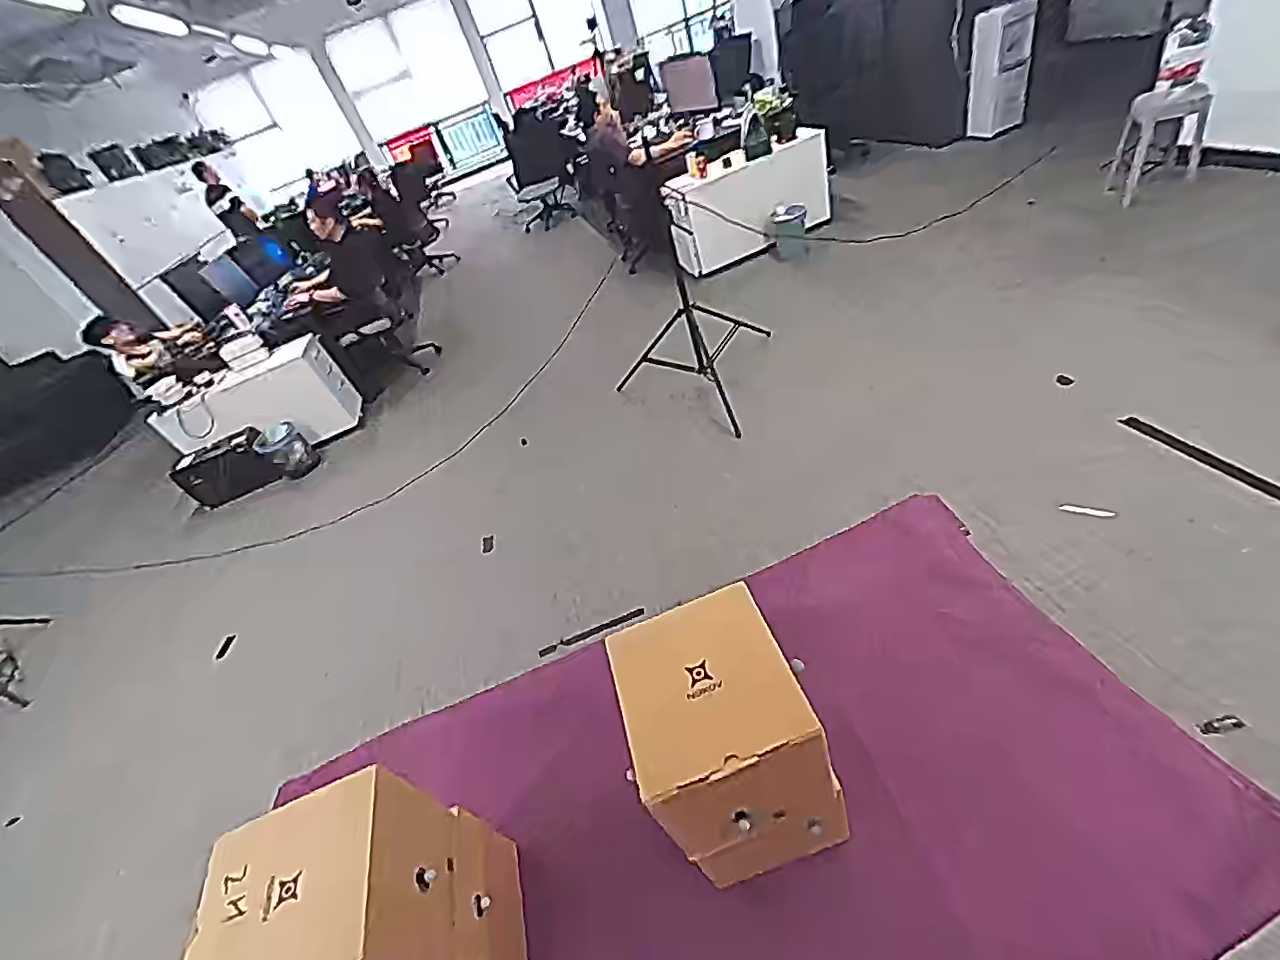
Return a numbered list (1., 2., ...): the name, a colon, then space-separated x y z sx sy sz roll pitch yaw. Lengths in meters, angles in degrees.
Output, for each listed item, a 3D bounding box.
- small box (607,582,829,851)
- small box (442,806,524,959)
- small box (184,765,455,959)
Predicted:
1. small box: 0.080 0.247 0.571 0.168 0.176 0.179 -22 39 -1
2. small box: -0.251 0.539 0.649 0.168 0.176 0.179 -24 39 -3
3. small box: -0.298 0.427 0.538 0.179 0.176 0.168 -24 39 -3
